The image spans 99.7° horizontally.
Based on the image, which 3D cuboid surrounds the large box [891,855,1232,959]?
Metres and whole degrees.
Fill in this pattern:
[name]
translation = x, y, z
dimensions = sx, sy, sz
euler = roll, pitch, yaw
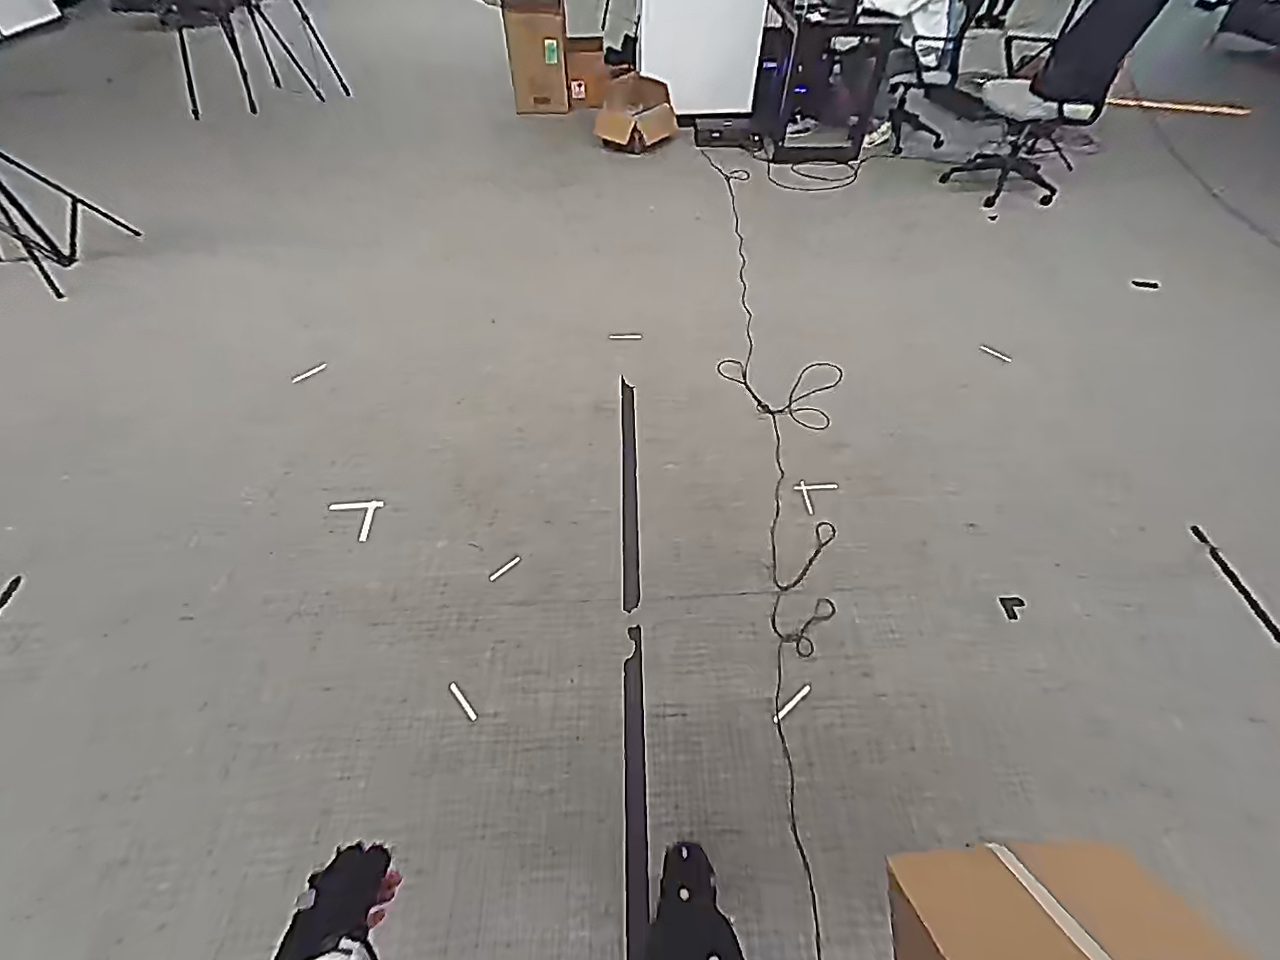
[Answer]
[large box]
translation = 0.508, 0.685, 0.564
dimensions = 0.320, 0.408, 0.320
euler = -4, 91, 1
